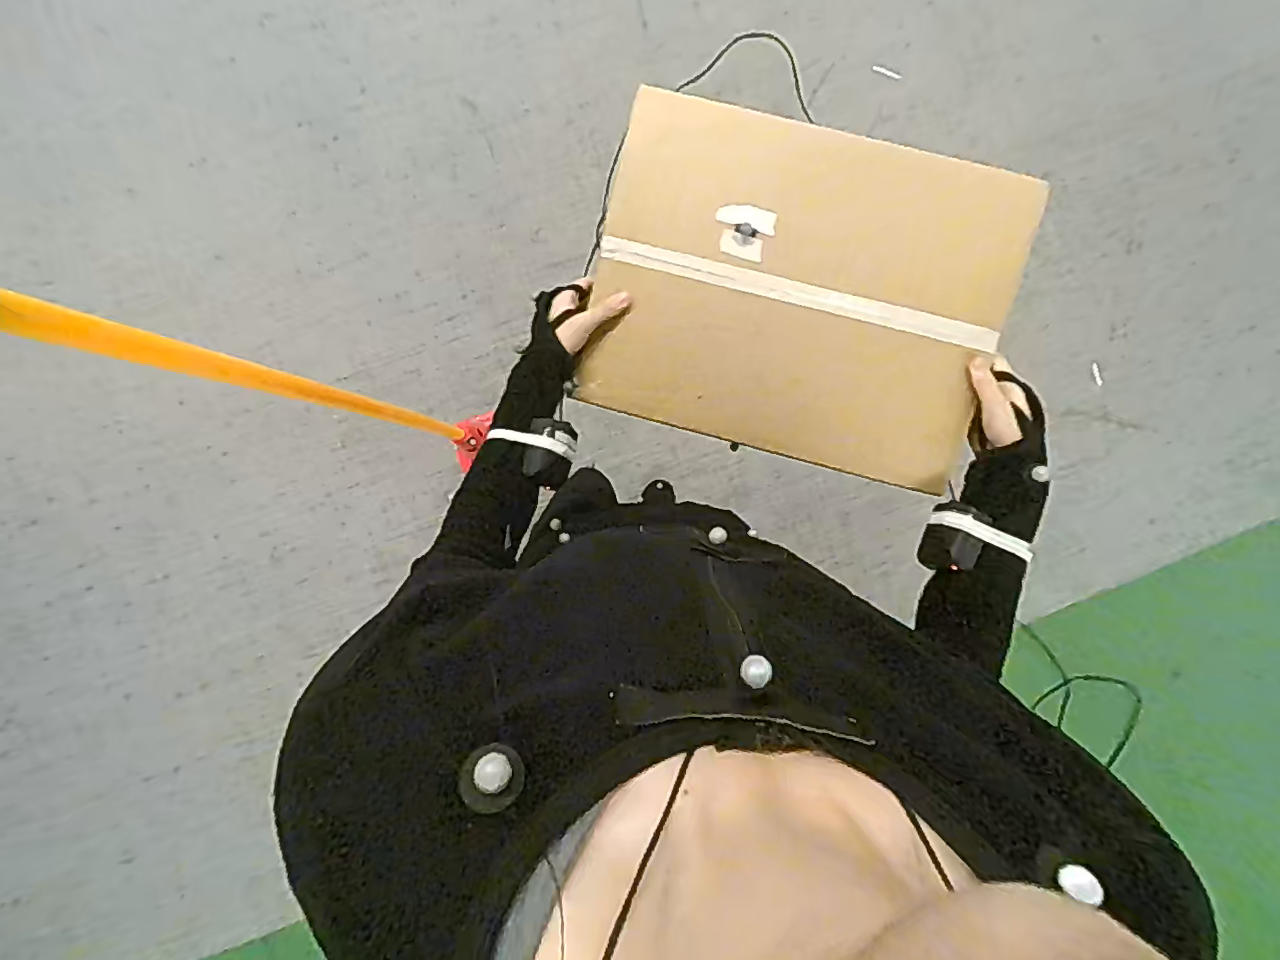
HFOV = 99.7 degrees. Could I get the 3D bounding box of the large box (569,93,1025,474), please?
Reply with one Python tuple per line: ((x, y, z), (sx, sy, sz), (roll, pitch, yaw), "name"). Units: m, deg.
((0.162, -0.219, 0.701), (0.408, 0.320, 0.320), (15, 99, 3), "large box")
